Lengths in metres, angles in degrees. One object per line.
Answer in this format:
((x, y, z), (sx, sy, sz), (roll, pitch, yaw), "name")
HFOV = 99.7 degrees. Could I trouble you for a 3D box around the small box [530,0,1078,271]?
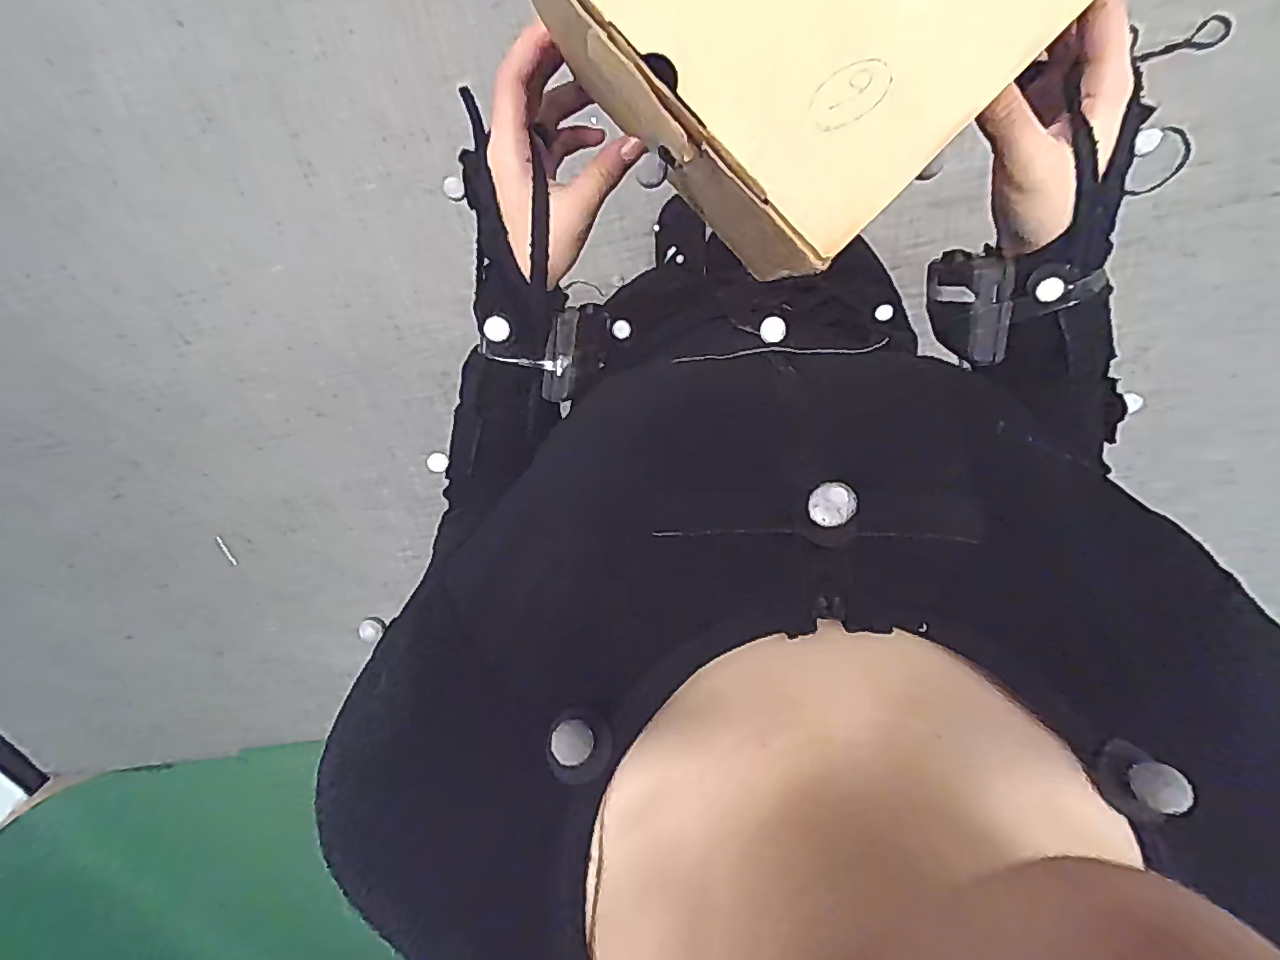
((0.072, -0.215, 0.241), (0.168, 0.176, 0.179), (43, 108, -9), "small box")
